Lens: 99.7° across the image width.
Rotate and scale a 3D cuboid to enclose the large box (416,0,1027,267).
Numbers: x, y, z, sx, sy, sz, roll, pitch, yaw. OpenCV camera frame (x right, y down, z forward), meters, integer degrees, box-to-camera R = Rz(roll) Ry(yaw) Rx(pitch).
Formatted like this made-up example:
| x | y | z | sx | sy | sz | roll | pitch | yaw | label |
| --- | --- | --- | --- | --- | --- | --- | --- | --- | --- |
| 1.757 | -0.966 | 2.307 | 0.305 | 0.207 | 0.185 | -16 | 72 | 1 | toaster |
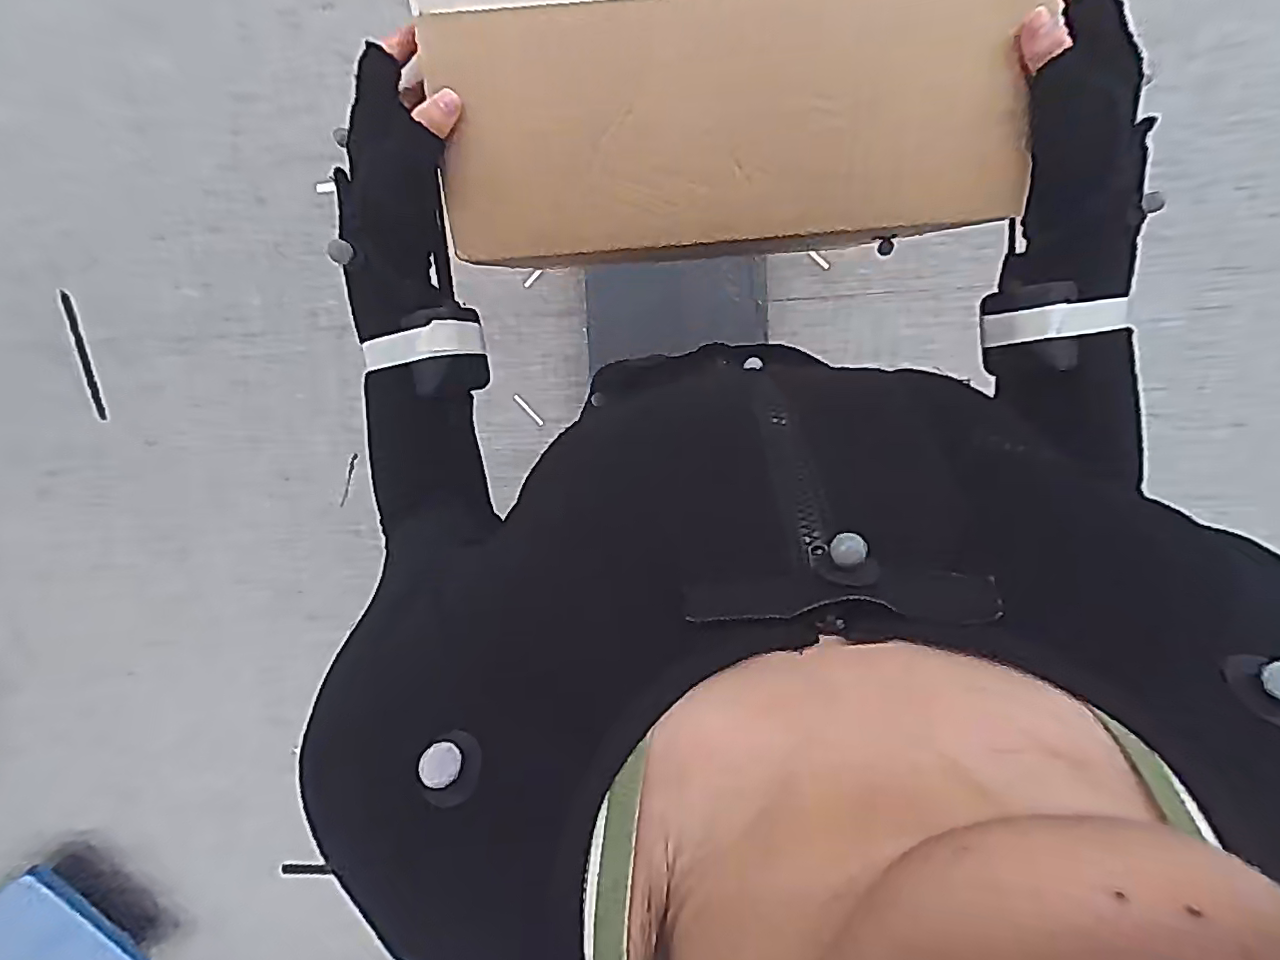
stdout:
| x | y | z | sx | sy | sz | roll | pitch | yaw | label |
| --- | --- | --- | --- | --- | --- | --- | --- | --- | --- |
| 0.052 | -0.372 | 0.484 | 0.408 | 0.320 | 0.320 | -4 | 110 | 1 | large box |
